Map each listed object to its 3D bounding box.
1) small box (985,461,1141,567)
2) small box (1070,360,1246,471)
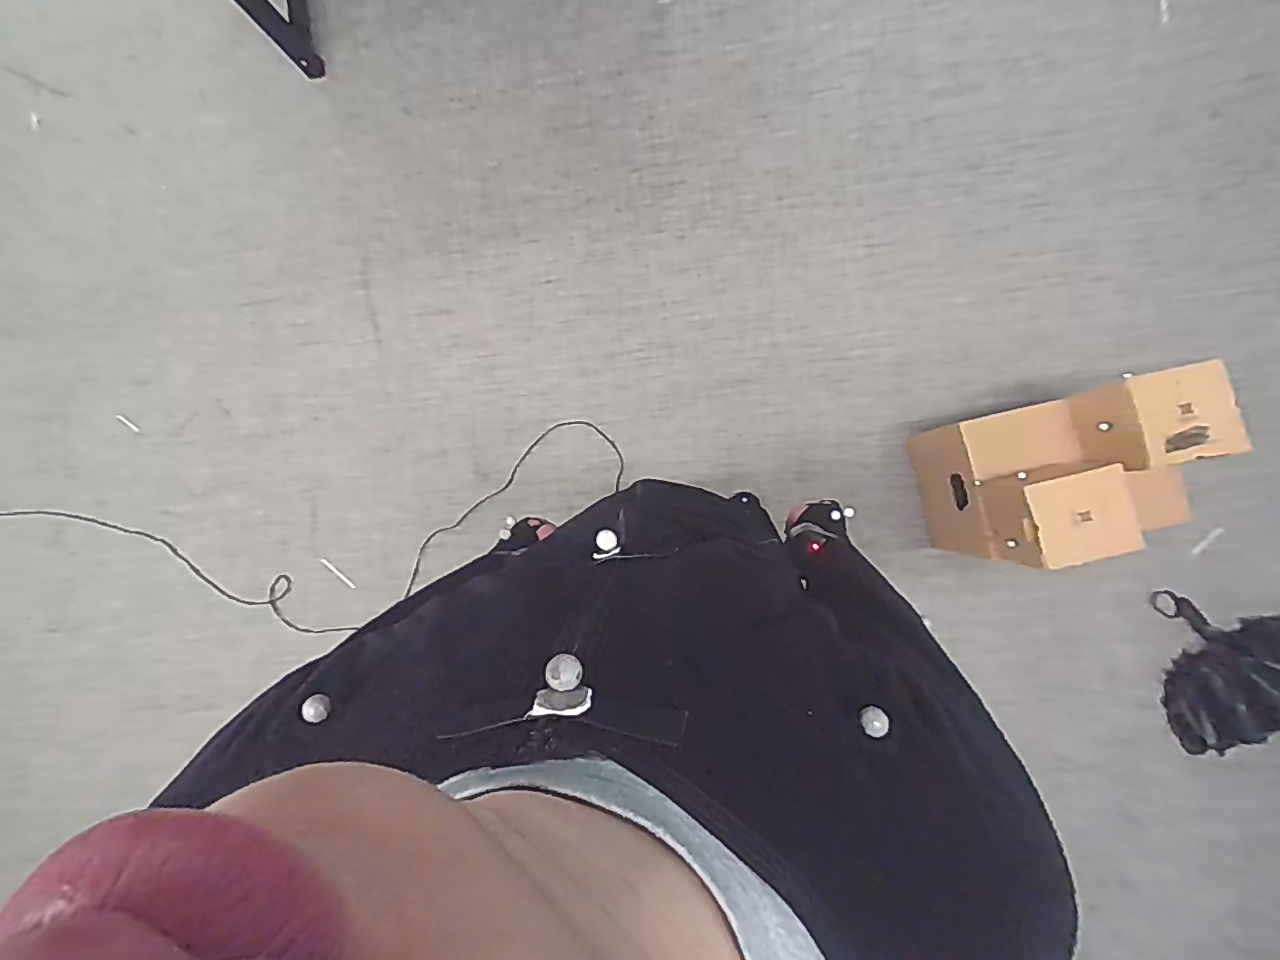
[{"bbox_3d":[0.825,0.064,1.079,0.179,0.176,0.168,-15,90,5],"label":"small box"},{"bbox_3d":[1.000,-0.115,1.061,0.168,0.176,0.179,-11,84,7],"label":"small box"}]
